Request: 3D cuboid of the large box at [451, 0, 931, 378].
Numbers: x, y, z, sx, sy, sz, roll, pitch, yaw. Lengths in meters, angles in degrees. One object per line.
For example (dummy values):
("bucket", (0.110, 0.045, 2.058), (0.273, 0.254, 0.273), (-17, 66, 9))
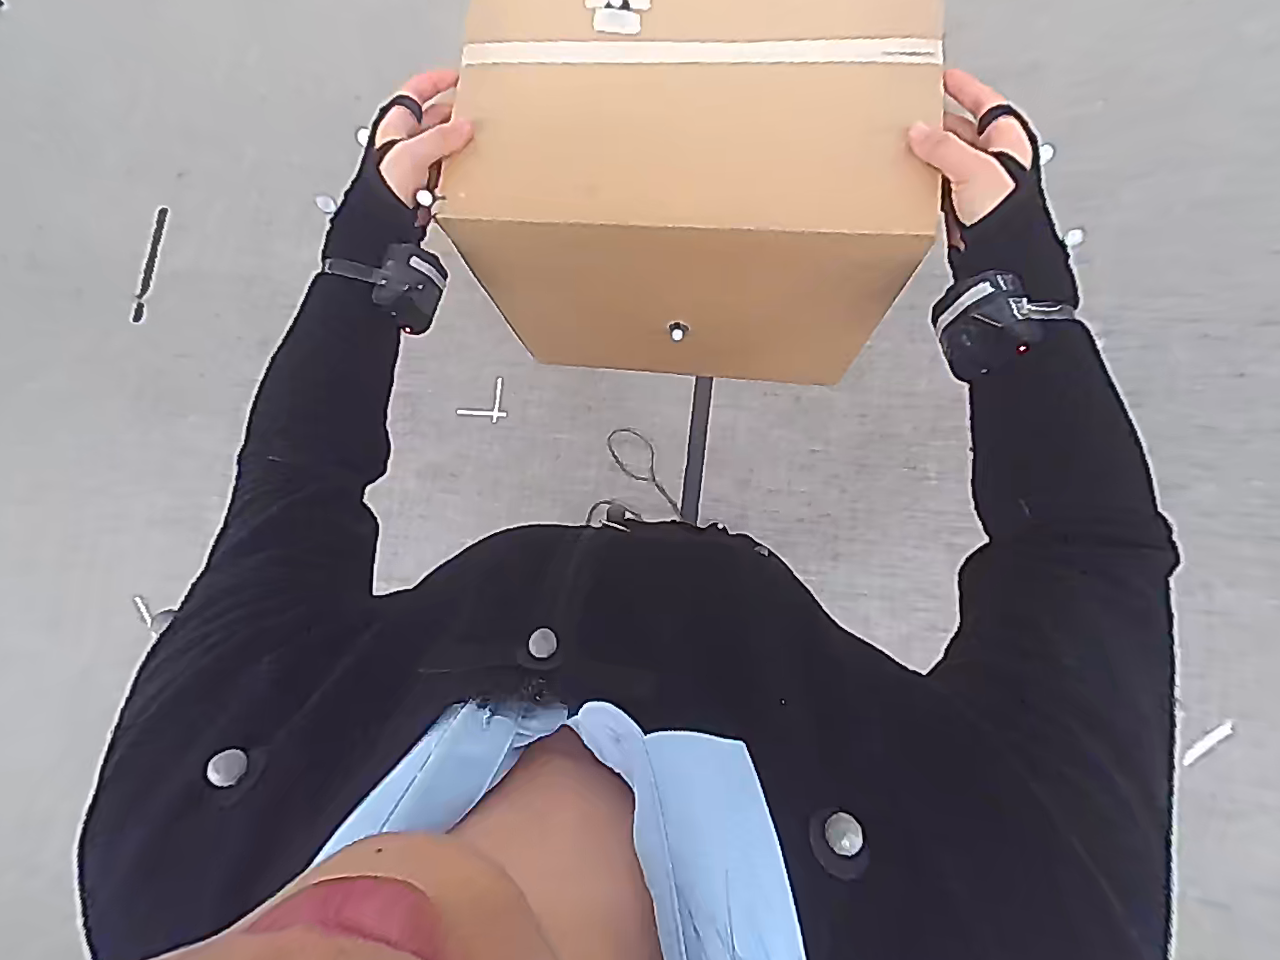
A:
("large box", (0.061, -0.320, 0.617), (0.408, 0.320, 0.320), (5, 78, 7))
